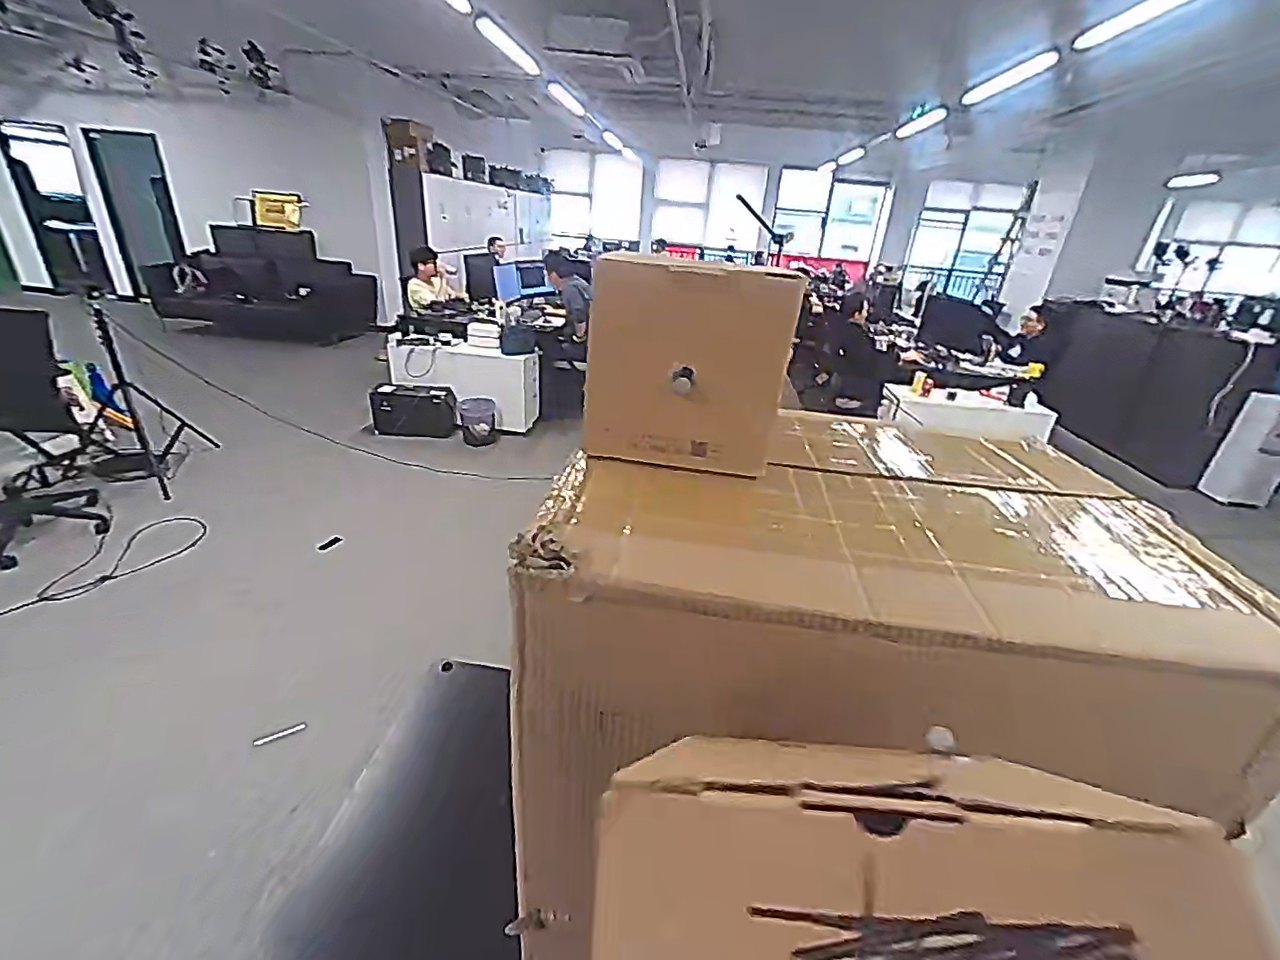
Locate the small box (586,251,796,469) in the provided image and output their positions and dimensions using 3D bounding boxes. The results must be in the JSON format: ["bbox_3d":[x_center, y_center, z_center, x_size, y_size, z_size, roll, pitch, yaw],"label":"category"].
[{"bbox_3d":[0.044,-0.122,0.524,0.168,0.176,0.179,7,25,4],"label":"small box"}]
